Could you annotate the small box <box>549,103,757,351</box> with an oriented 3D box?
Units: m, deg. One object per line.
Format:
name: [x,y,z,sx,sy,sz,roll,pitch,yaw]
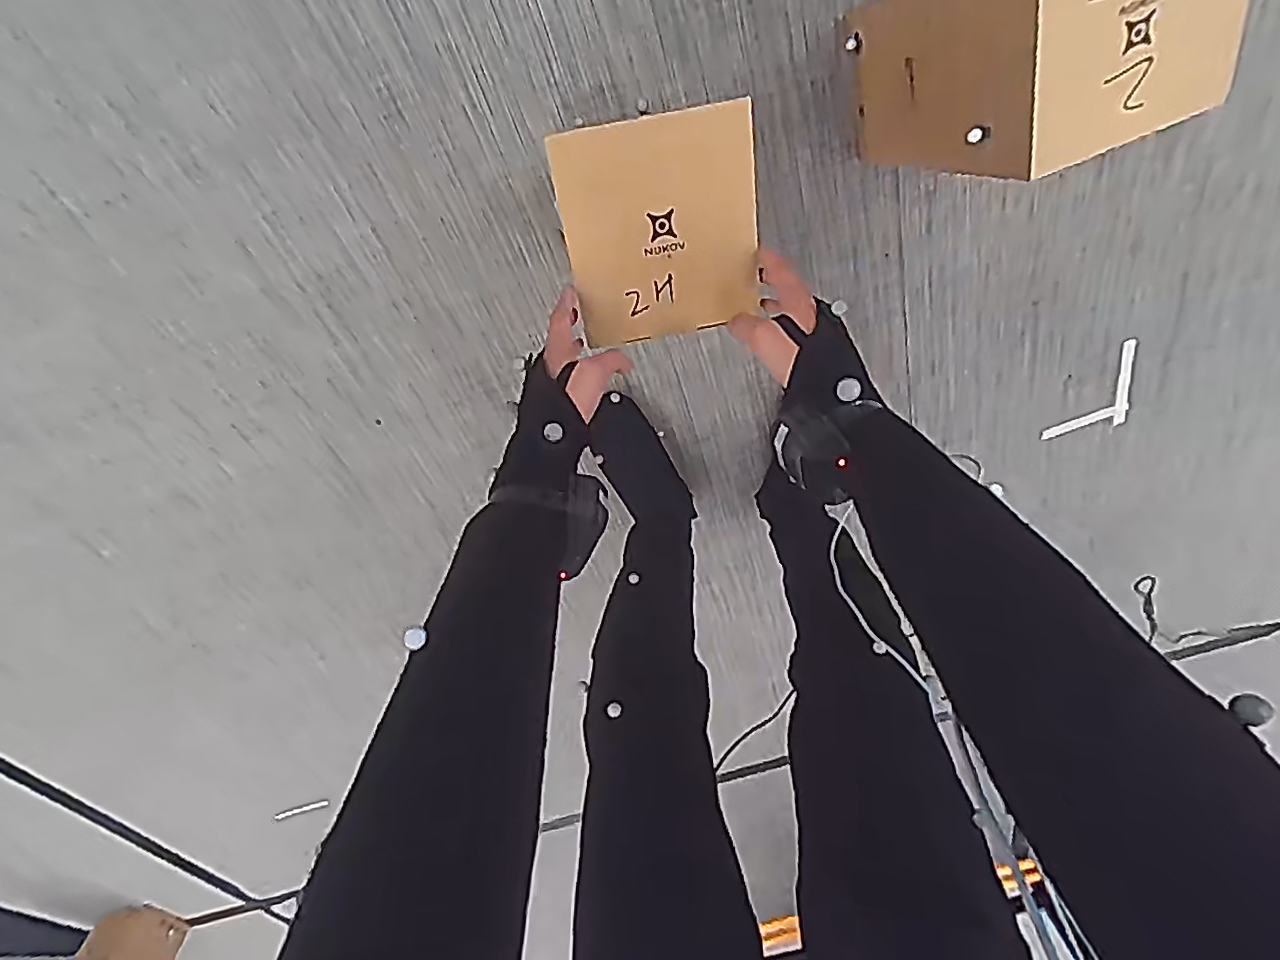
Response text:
small box: [0.011,-0.249,0.531,0.168,0.176,0.179,-10,123,1]

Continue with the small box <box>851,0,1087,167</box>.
small box: [0.360,-0.480,0.620,0.179,0.176,0.168,-20,123,4]
